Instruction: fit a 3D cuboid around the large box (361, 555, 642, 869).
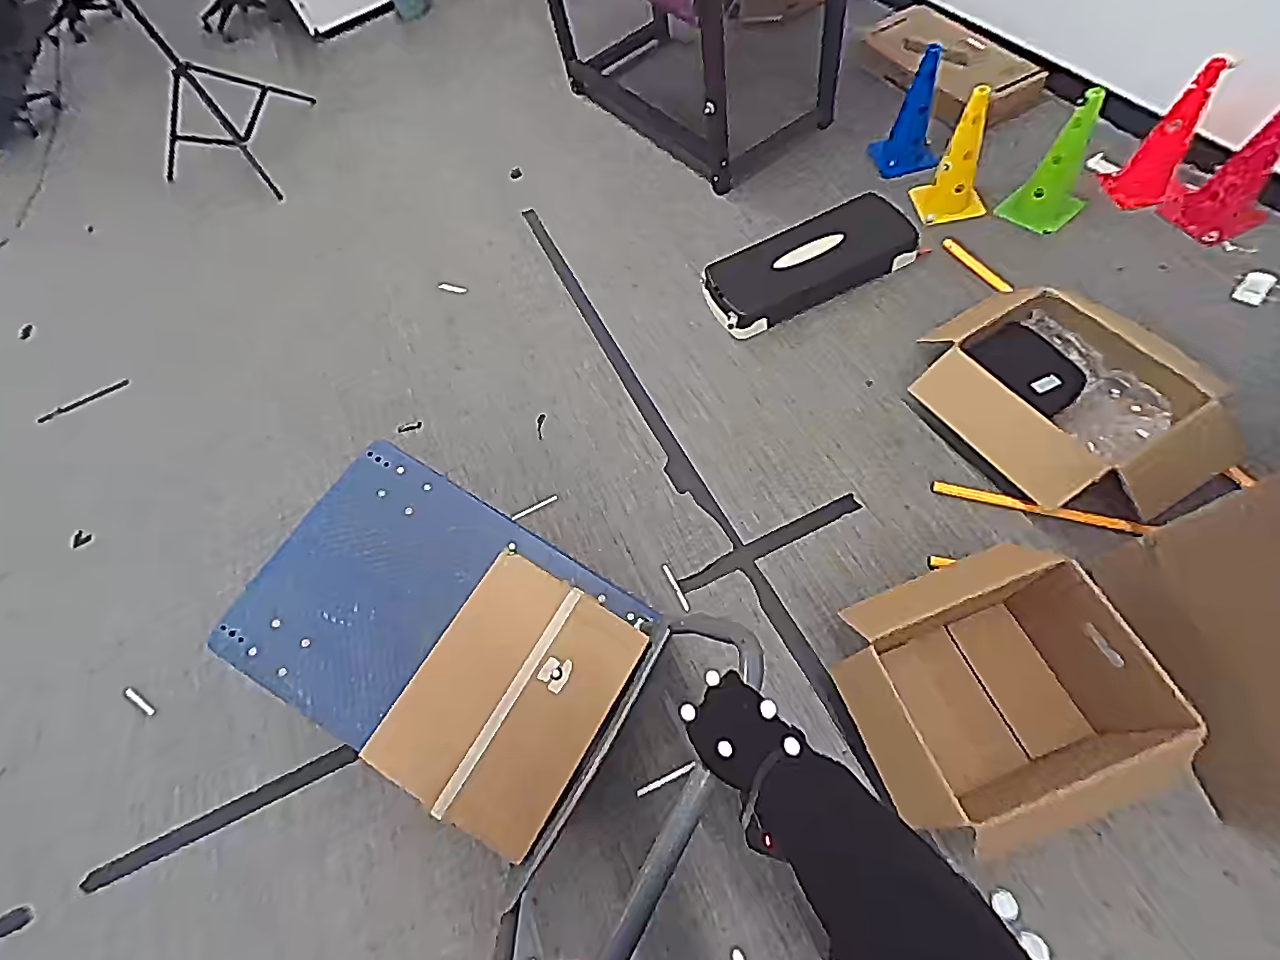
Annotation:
[{"bbox_3d":[-0.234,0.419,1.047,0.320,0.320,0.408,30,71,4],"label":"large box"}]
